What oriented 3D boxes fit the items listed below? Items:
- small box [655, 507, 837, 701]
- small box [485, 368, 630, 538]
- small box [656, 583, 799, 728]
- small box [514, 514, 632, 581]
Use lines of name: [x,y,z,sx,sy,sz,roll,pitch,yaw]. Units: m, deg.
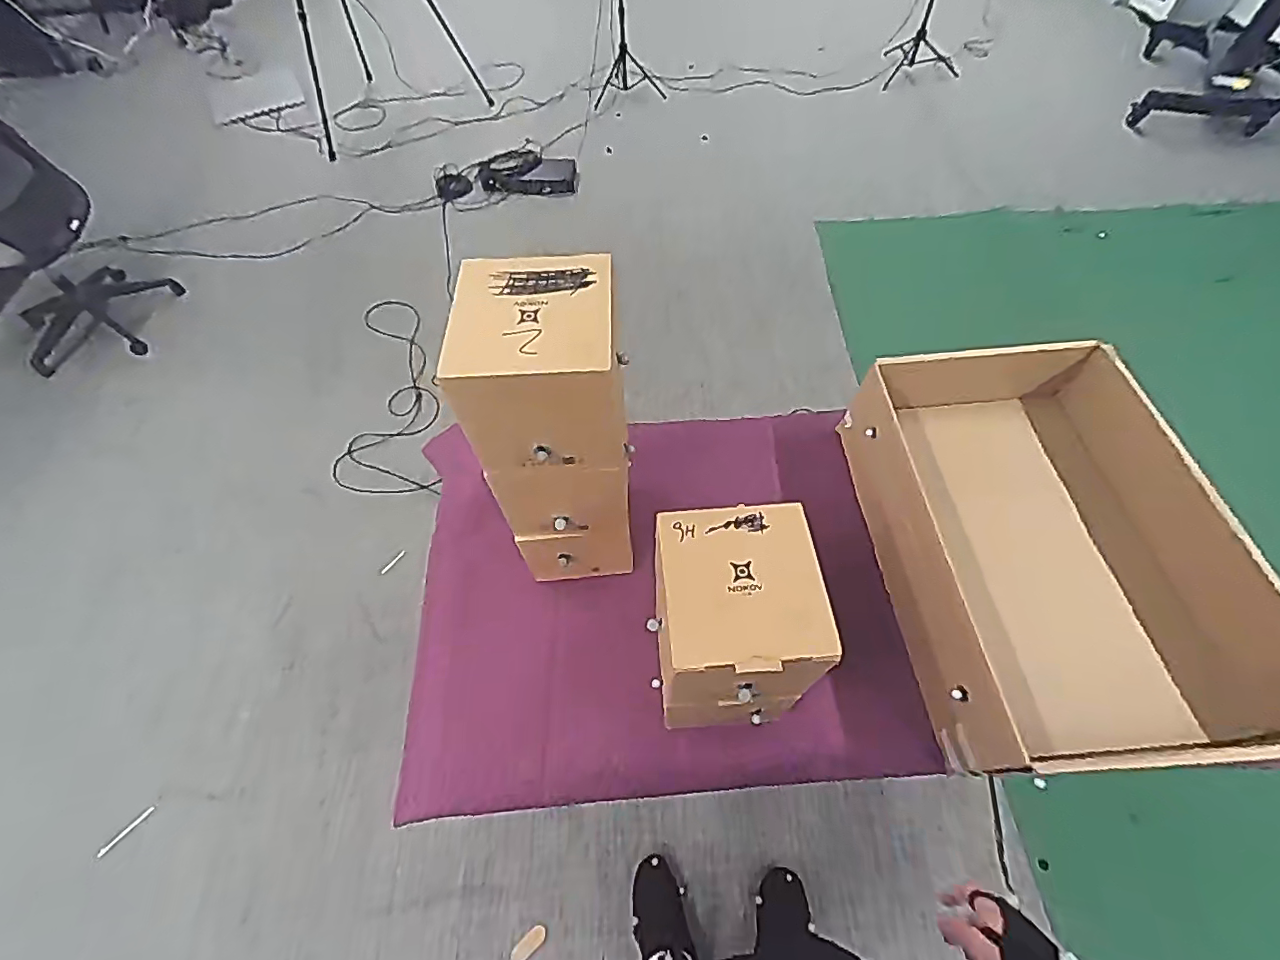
small box: [0.106,0.151,0.626,0.168,0.176,0.179,-4,57,-1]
small box: [-0.102,-0.034,0.753,0.168,0.176,0.179,-2,58,2]
small box: [0.111,0.243,0.761,0.168,0.176,0.179,-3,56,-1]
small box: [-0.103,0.058,0.890,0.168,0.176,0.179,-5,57,-1]
